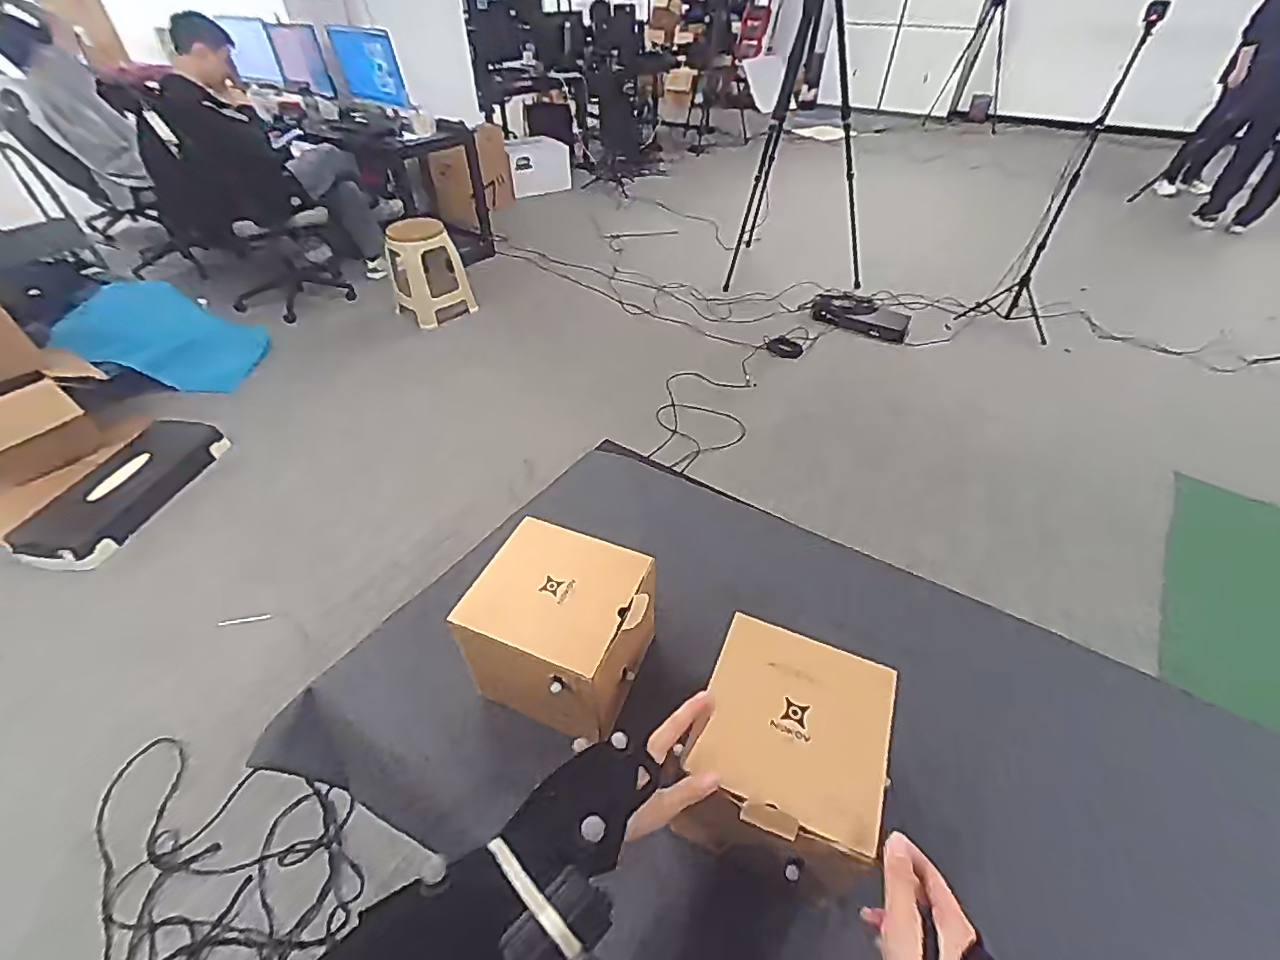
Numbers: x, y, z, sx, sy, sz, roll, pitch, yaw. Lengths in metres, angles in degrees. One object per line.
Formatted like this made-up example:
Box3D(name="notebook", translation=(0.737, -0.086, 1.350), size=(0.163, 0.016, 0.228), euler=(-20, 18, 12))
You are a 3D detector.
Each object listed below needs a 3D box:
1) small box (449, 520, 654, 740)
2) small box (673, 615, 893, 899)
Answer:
Box3D(name="small box", translation=(-0.094, 0.180, 0.651), size=(0.179, 0.176, 0.168), euler=(16, 44, 15))
Box3D(name="small box", translation=(0.137, 0.277, 0.546), size=(0.168, 0.176, 0.179), euler=(17, 44, 17))
